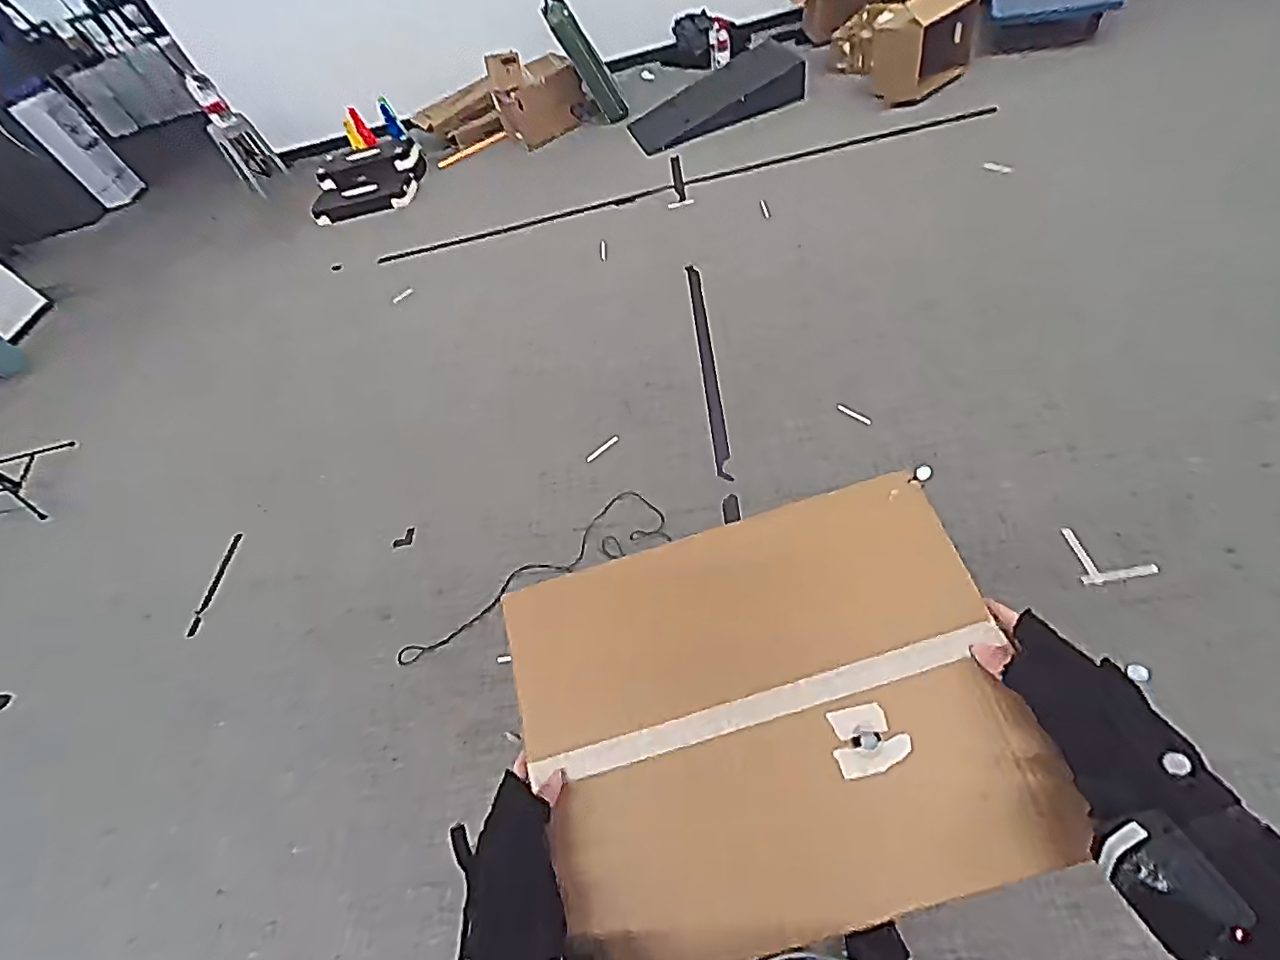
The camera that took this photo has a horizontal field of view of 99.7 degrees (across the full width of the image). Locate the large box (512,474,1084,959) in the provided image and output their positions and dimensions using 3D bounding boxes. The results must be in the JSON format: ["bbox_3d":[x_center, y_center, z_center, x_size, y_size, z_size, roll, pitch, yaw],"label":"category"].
[{"bbox_3d":[0.121,0.246,0.597,0.408,0.320,0.320,-17,66,0],"label":"large box"}]
